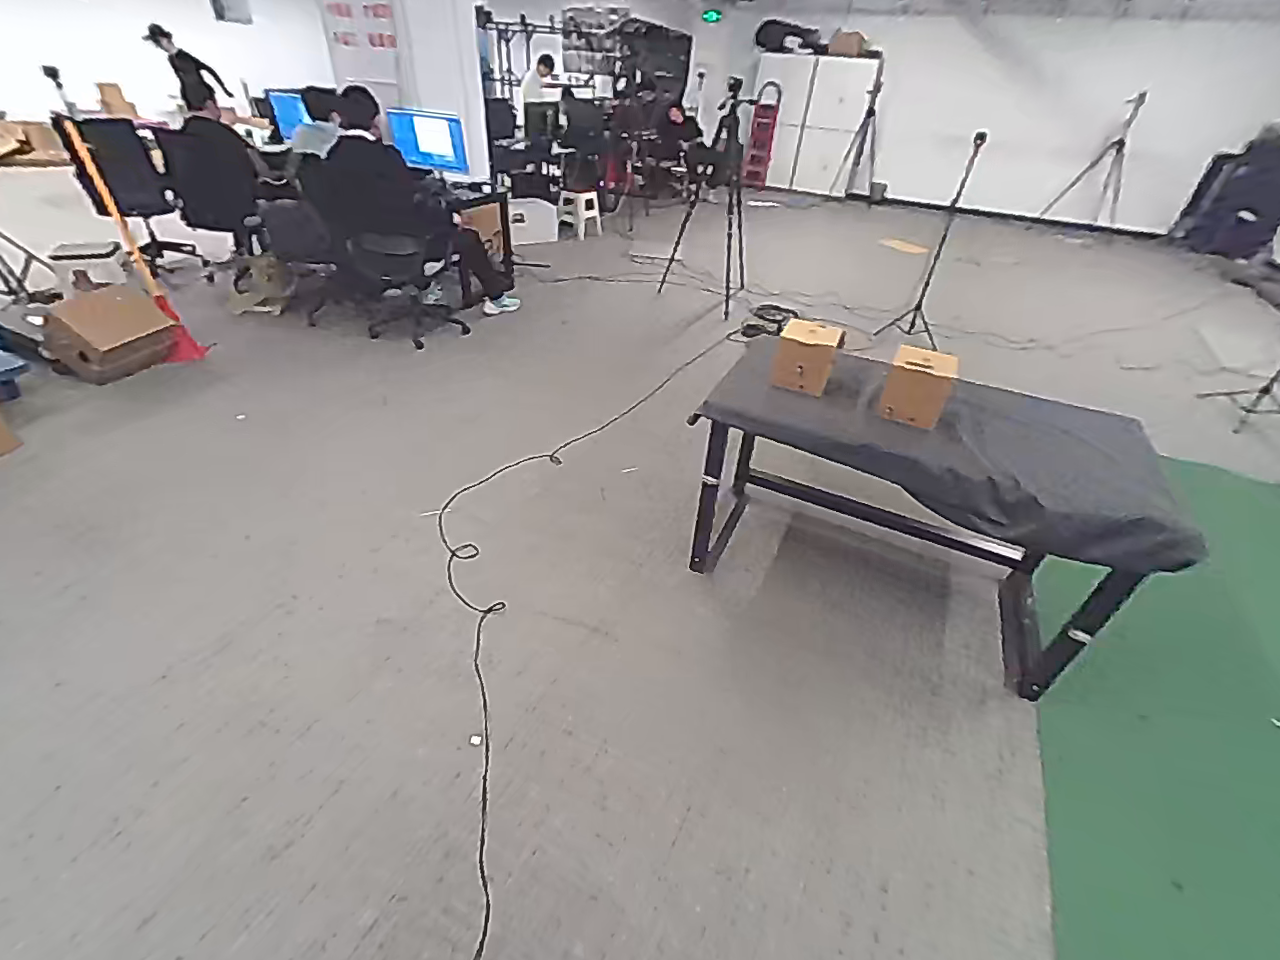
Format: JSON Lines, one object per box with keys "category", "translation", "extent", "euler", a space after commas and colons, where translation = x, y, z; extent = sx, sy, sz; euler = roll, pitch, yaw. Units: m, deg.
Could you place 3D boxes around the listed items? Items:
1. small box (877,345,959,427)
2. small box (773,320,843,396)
{"category": "small box", "translation": [0.814, -0.276, 1.589], "extent": [0.168, 0.176, 0.179], "euler": [20, 39, 21]}
{"category": "small box", "translation": [0.530, -0.387, 1.718], "extent": [0.168, 0.176, 0.179], "euler": [18, 40, 18]}
